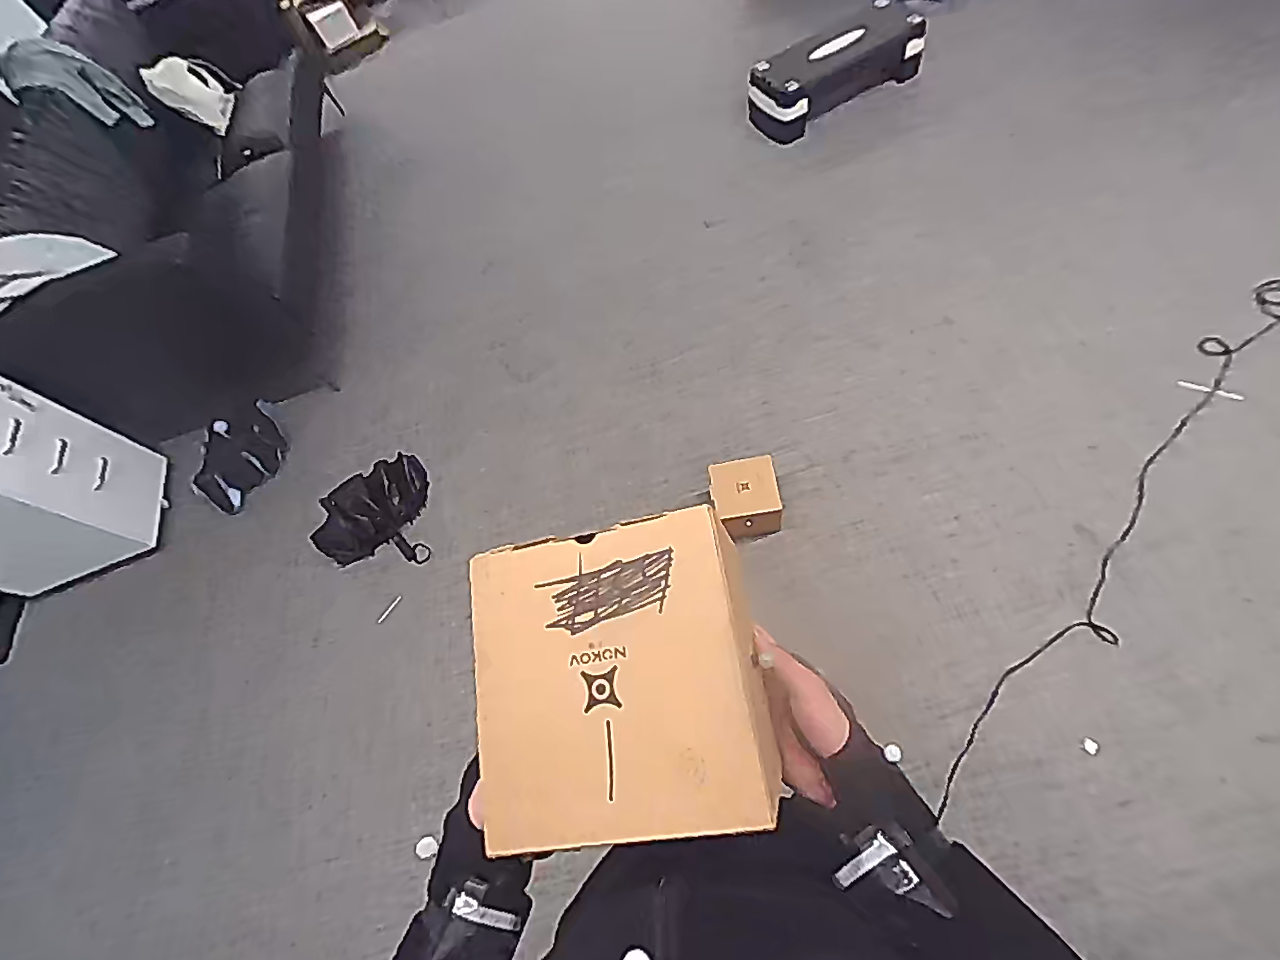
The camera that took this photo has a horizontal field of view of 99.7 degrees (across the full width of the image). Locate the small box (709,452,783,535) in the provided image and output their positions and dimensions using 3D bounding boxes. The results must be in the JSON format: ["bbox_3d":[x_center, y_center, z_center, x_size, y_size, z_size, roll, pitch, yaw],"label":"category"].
[{"bbox_3d":[0.298,0.044,1.517,0.179,0.176,0.168,-10,64,8],"label":"small box"}]

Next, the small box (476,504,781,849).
[{"bbox_3d":[0.001,0.134,0.391,0.168,0.176,0.179,-13,71,13],"label":"small box"}]
